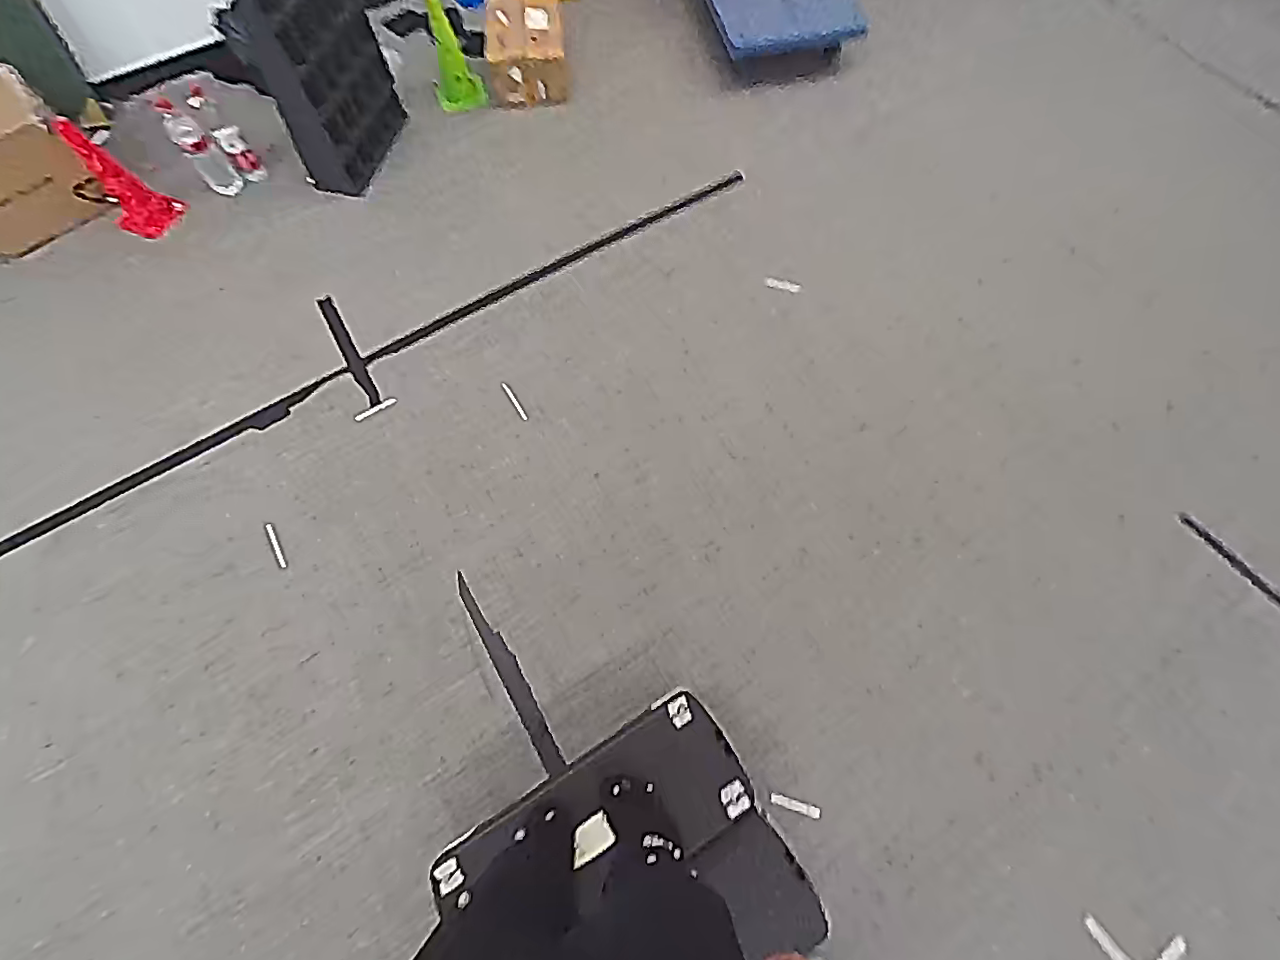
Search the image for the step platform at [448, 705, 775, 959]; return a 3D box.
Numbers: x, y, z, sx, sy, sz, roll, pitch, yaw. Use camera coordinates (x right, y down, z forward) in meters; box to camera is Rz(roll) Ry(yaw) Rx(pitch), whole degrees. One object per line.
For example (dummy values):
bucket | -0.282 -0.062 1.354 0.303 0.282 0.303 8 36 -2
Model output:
step platform | -0.054 0.780 1.178 0.684 0.204 0.286 -26 68 -11
